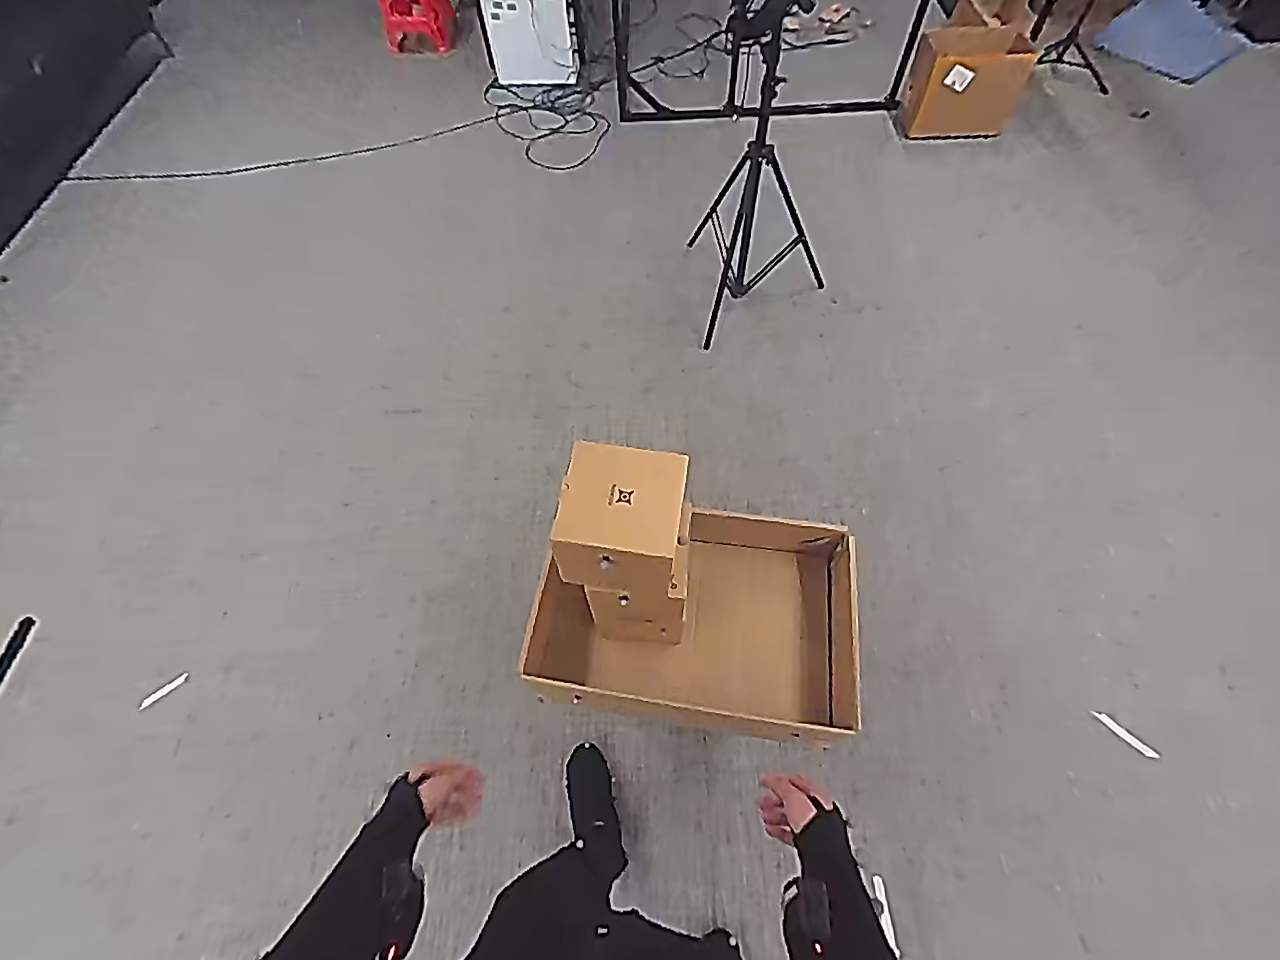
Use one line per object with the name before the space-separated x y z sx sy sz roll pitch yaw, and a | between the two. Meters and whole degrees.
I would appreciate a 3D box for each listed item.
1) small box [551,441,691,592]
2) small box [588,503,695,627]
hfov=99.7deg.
small box | -0.022 0.063 0.830 0.179 0.176 0.168 8 60 5
small box | 0.005 0.147 0.969 0.168 0.176 0.179 5 60 4
